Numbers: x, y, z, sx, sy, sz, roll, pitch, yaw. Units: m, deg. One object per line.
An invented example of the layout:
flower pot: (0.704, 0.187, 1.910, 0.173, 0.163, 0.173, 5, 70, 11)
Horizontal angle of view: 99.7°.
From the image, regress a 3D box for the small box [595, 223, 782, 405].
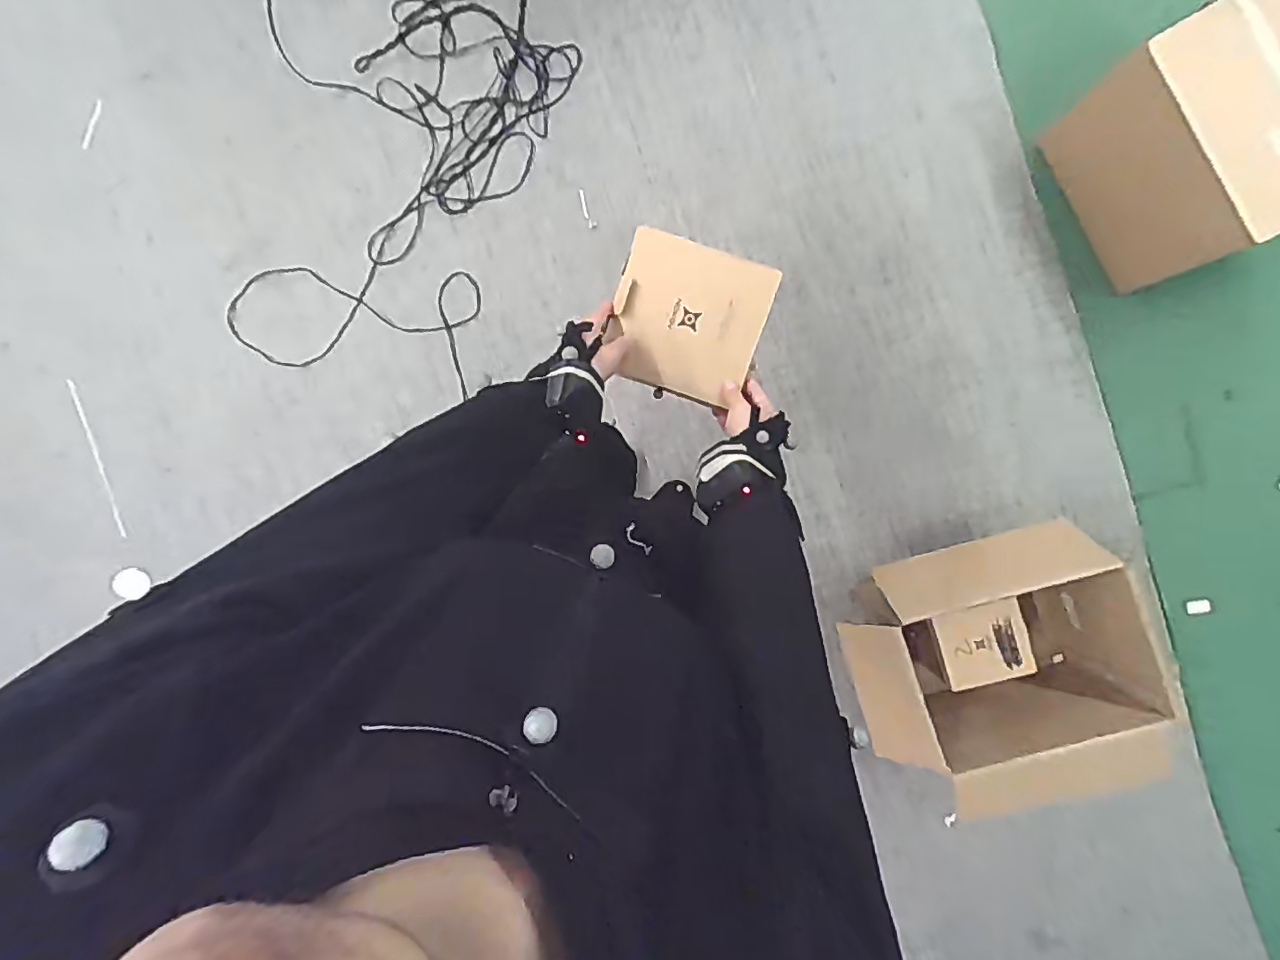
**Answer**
small box: (0.059, -0.198, 0.695, 0.179, 0.176, 0.168, 18, 99, 1)
